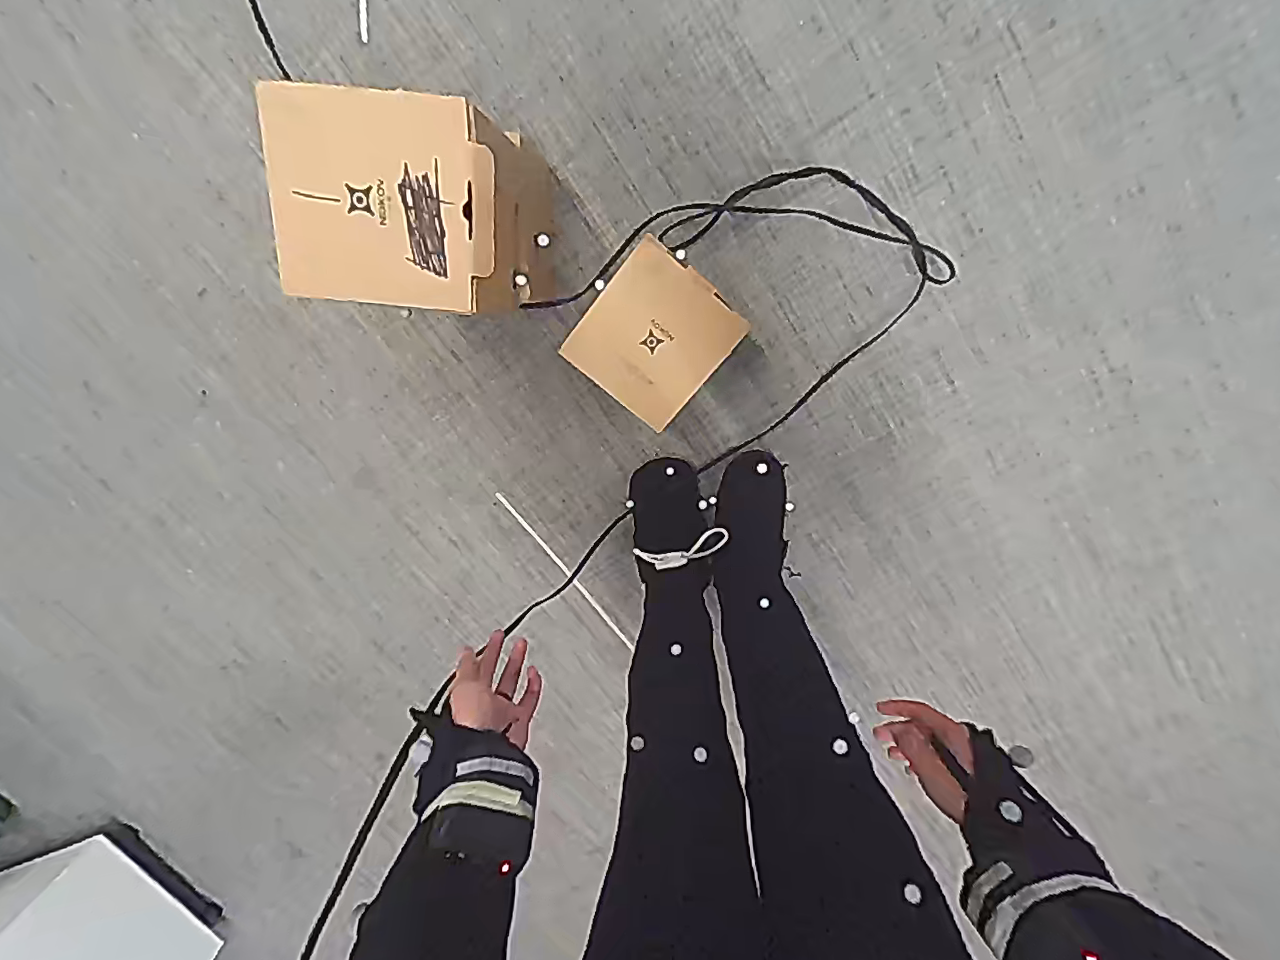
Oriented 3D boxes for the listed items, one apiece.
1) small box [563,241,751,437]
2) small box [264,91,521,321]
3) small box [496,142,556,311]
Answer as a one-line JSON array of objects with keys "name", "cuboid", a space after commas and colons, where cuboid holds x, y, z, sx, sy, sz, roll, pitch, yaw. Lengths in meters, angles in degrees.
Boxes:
[{"name": "small box", "cuboid": [0.020, -0.191, 0.729, 0.168, 0.176, 0.179, 38, 106, -10]}, {"name": "small box", "cuboid": [-0.222, -0.254, 0.536, 0.179, 0.176, 0.168, 6, 109, 1]}, {"name": "small box", "cuboid": [-0.206, -0.312, 0.690, 0.168, 0.176, 0.179, 1, 109, 2]}]
